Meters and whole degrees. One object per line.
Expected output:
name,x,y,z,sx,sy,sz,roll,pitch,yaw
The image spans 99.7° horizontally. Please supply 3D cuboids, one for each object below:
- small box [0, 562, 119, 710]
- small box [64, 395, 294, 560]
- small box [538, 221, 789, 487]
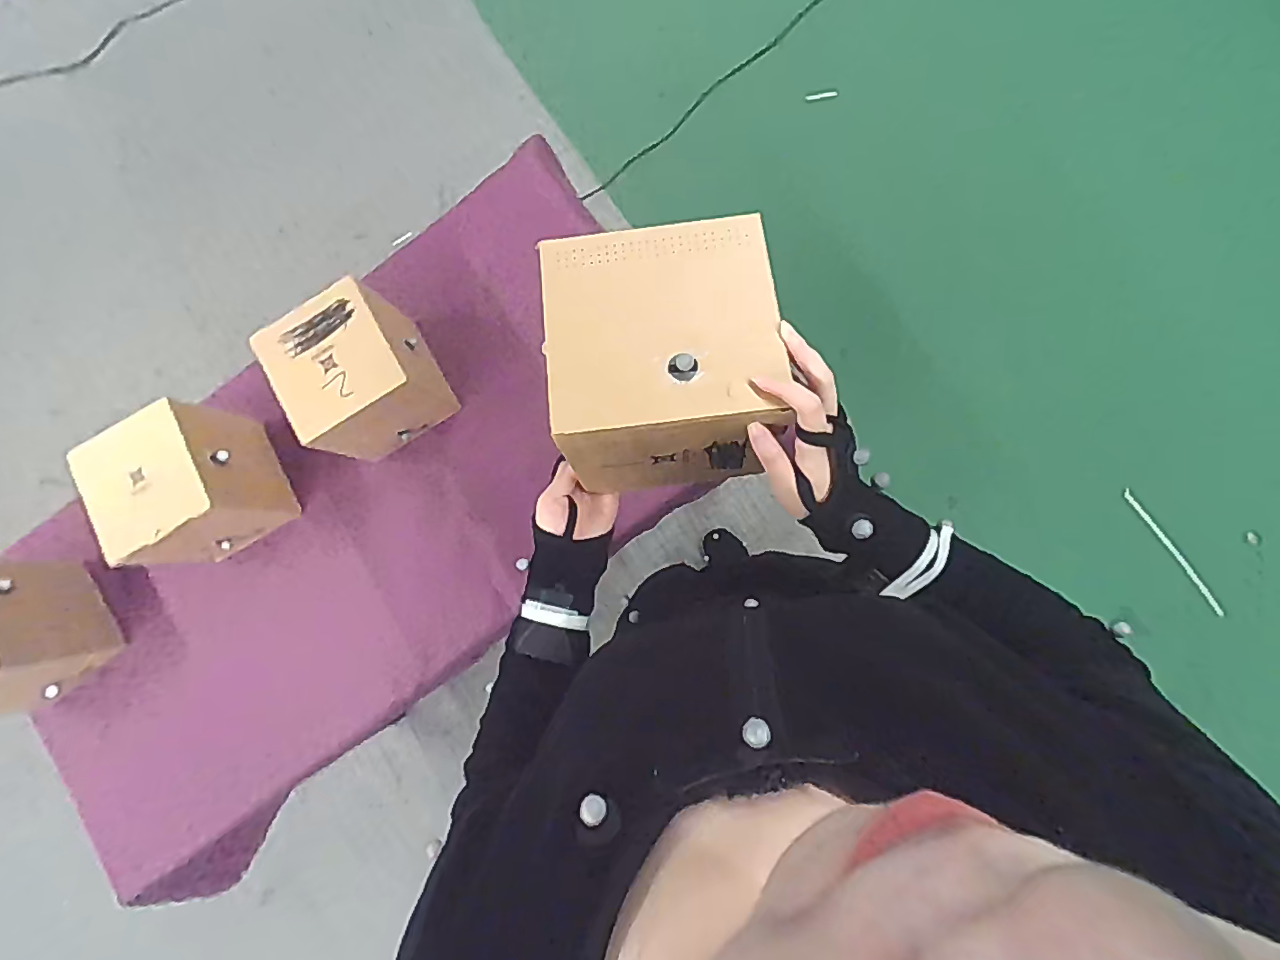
small box,-0.954,0.235,0.805,0.168,0.176,0.179,-36,82,1
small box,-0.668,0.004,0.803,0.168,0.176,0.179,-29,83,3
small box,0.015,-0.101,0.475,0.179,0.168,0.176,-5,74,2
